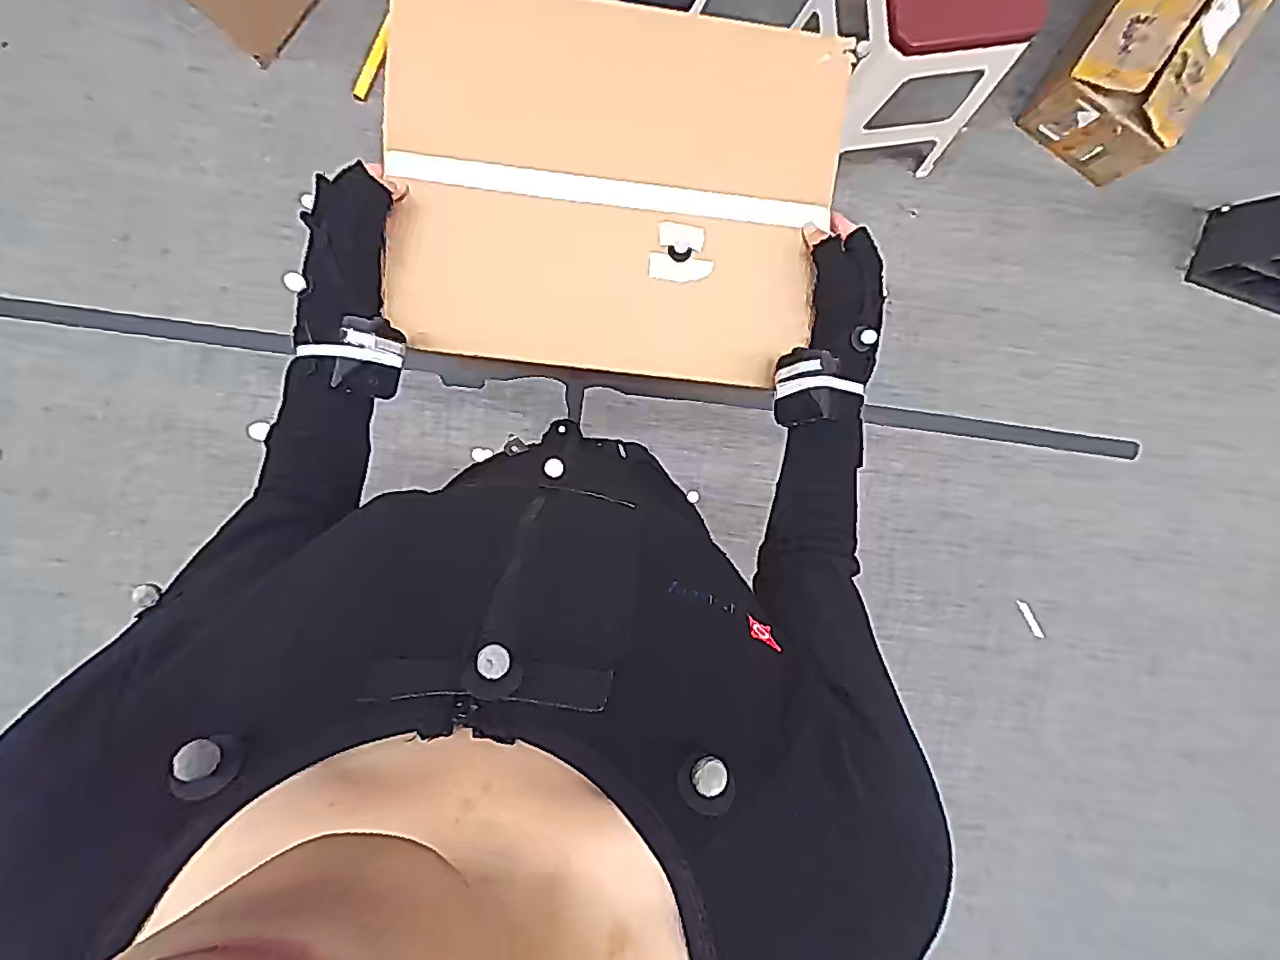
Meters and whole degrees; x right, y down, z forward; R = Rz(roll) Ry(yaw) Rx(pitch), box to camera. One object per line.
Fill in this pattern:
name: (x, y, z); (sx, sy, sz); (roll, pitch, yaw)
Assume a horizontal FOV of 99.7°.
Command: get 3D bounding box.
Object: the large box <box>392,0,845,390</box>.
large box: (-0.033, -0.283, 0.645); (0.408, 0.320, 0.320); (6, 98, -4)
